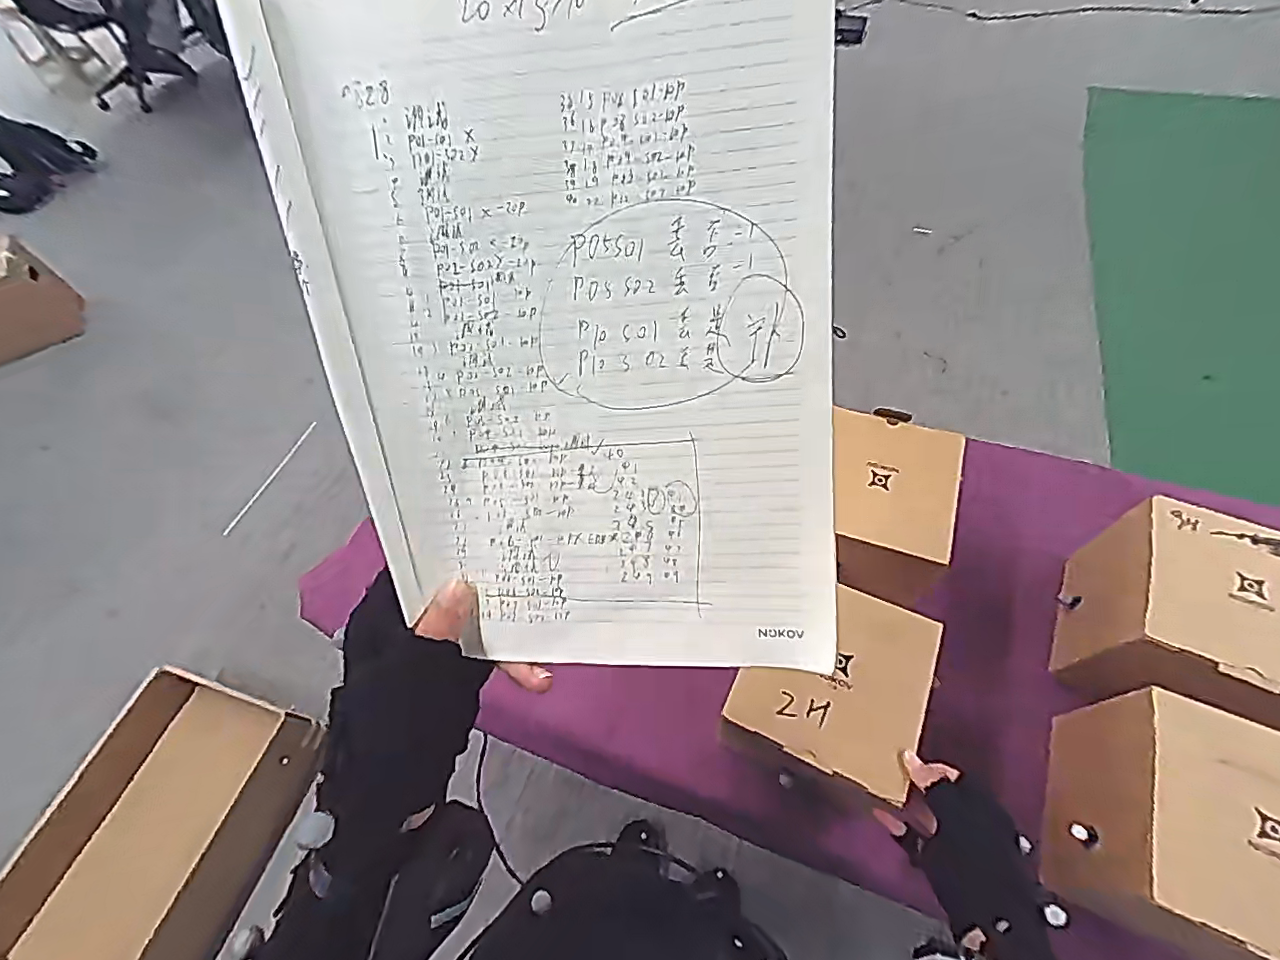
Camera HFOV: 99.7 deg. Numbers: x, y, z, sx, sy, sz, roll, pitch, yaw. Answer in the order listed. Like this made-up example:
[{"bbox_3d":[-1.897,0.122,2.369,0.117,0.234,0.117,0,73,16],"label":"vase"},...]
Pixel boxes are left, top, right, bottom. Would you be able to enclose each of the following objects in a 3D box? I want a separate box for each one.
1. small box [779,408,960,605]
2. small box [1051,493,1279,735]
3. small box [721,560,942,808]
[{"bbox_3d":[0.282,0.041,0.691,0.168,0.176,0.179,16,60,15],"label":"small box"},{"bbox_3d":[0.586,0.150,0.586,0.168,0.176,0.179,23,63,18],"label":"small box"},{"bbox_3d":[0.192,0.221,0.581,0.168,0.176,0.179,21,61,18],"label":"small box"}]
